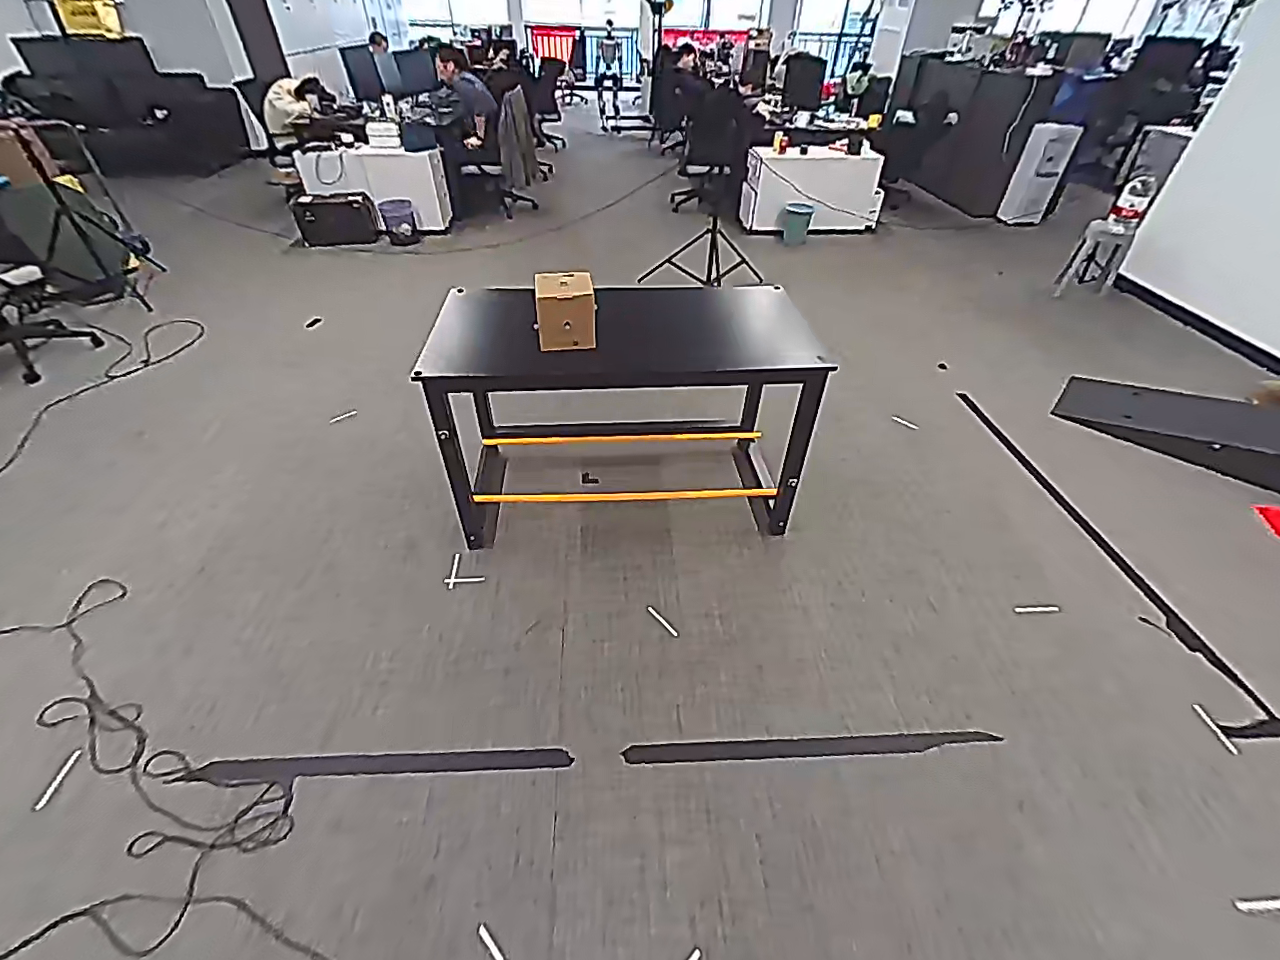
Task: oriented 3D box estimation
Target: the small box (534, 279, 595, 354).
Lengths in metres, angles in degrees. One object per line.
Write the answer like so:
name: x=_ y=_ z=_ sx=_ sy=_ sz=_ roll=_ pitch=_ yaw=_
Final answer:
small box: x=-0.229 y=-0.491 z=1.639 sx=0.168 sy=0.176 sz=0.179 roll=-6 pitch=42 yaw=-7
